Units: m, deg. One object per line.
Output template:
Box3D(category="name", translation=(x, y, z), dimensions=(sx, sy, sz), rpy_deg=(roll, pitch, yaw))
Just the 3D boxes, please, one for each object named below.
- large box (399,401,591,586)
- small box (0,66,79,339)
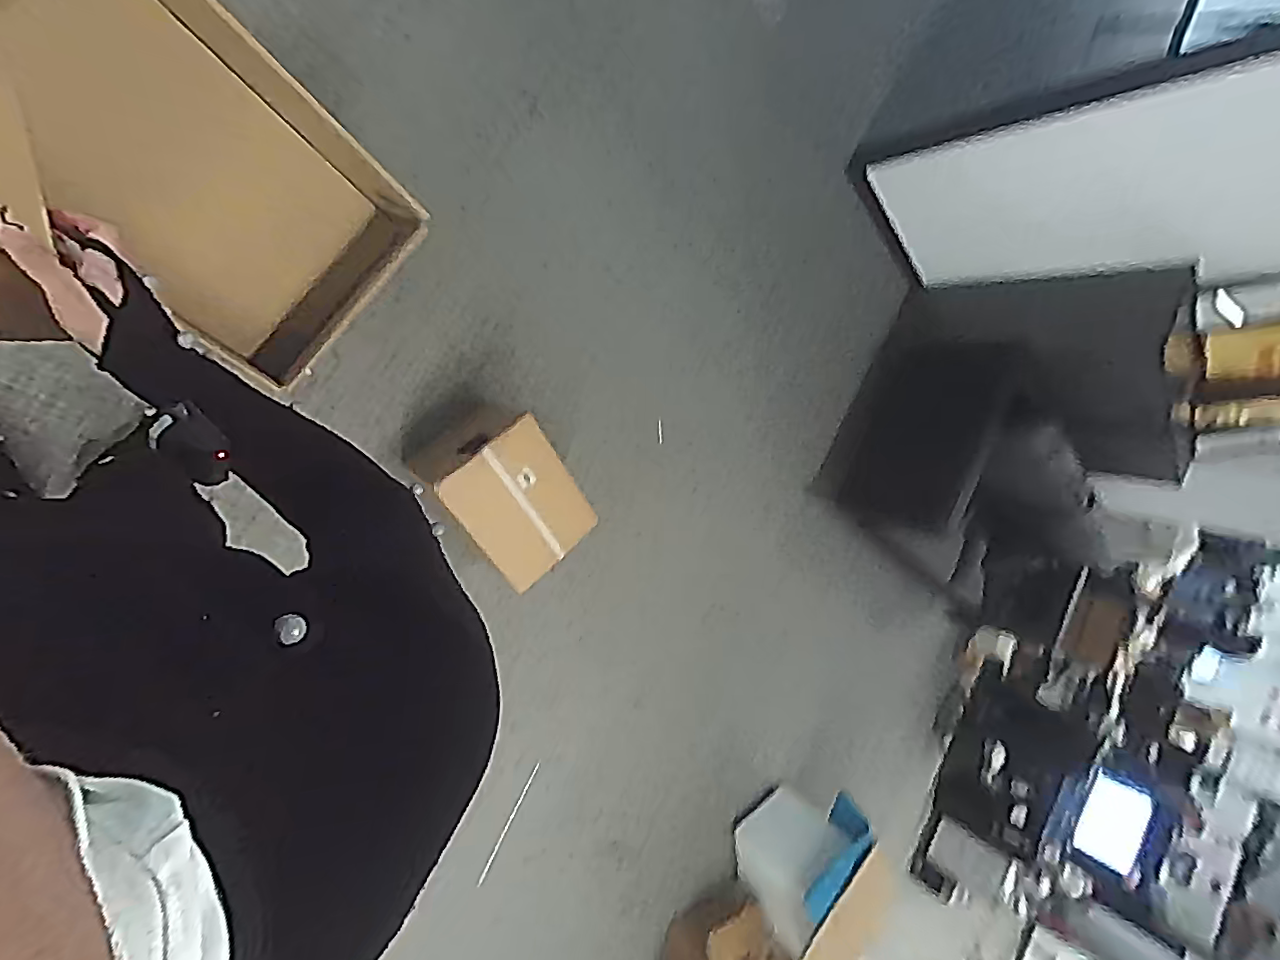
Box3D(category="large box", translation=(-0.418, 0.029, 1.578), dimensions=(0.320, 0.320, 0.408), rpy_deg=(-43, 123, -22))
Box3D(category="small box", translation=(-0.626, -0.240, 0.465), dimensions=(0.168, 0.176, 0.179), rpy_deg=(-15, 85, -42))
